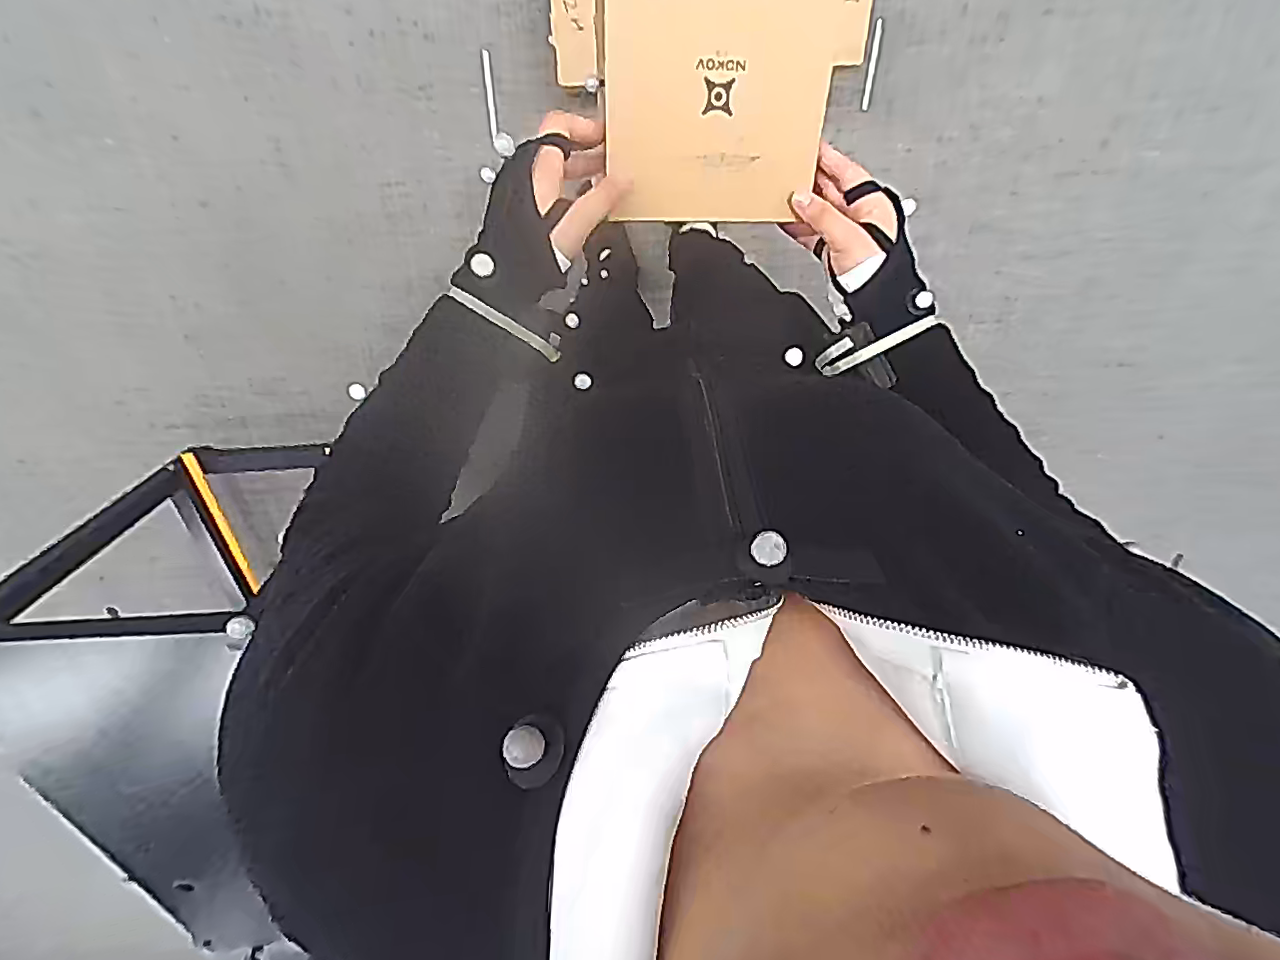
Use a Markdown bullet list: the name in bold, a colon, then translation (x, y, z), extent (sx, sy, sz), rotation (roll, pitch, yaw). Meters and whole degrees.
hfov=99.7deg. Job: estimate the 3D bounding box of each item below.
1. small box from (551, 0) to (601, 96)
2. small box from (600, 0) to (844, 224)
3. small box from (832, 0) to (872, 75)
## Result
- **small box**: translation (-0.070, -0.833, 1.018), extent (0.179, 0.176, 0.168), rotation (-4, 122, -1)
- **small box**: translation (0.052, -0.323, 0.461), extent (0.168, 0.176, 0.179), rotation (-2, 122, -4)
- **small box**: translation (0.264, -0.767, 0.890), extent (0.179, 0.176, 0.168), rotation (-3, 122, -3)
